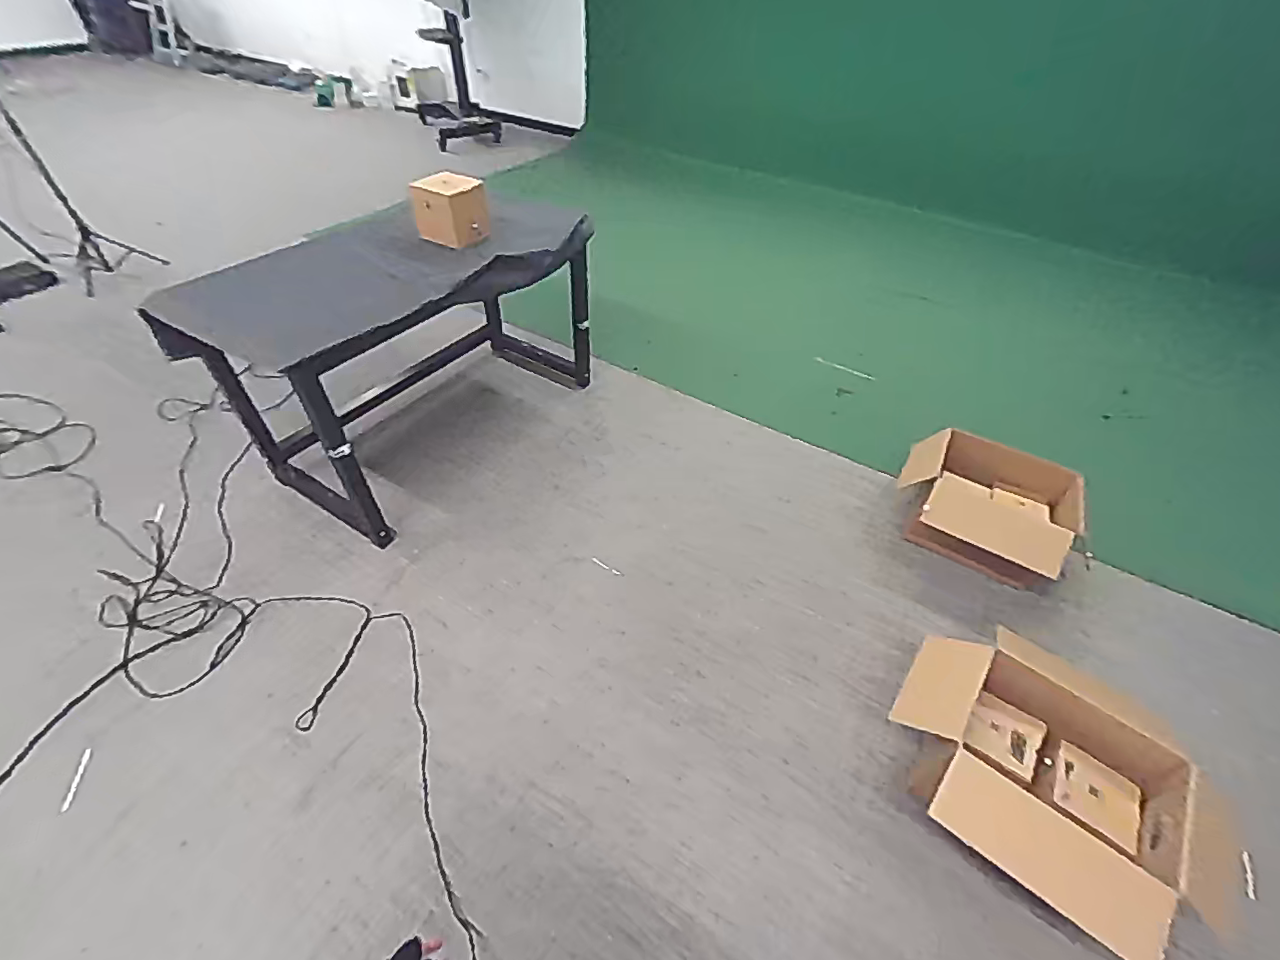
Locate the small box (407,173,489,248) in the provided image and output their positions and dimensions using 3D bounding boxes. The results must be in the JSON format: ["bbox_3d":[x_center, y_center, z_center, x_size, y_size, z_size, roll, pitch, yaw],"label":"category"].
[{"bbox_3d":[-0.624,-0.884,1.777,0.179,0.176,0.168,24,49,18],"label":"small box"}]
